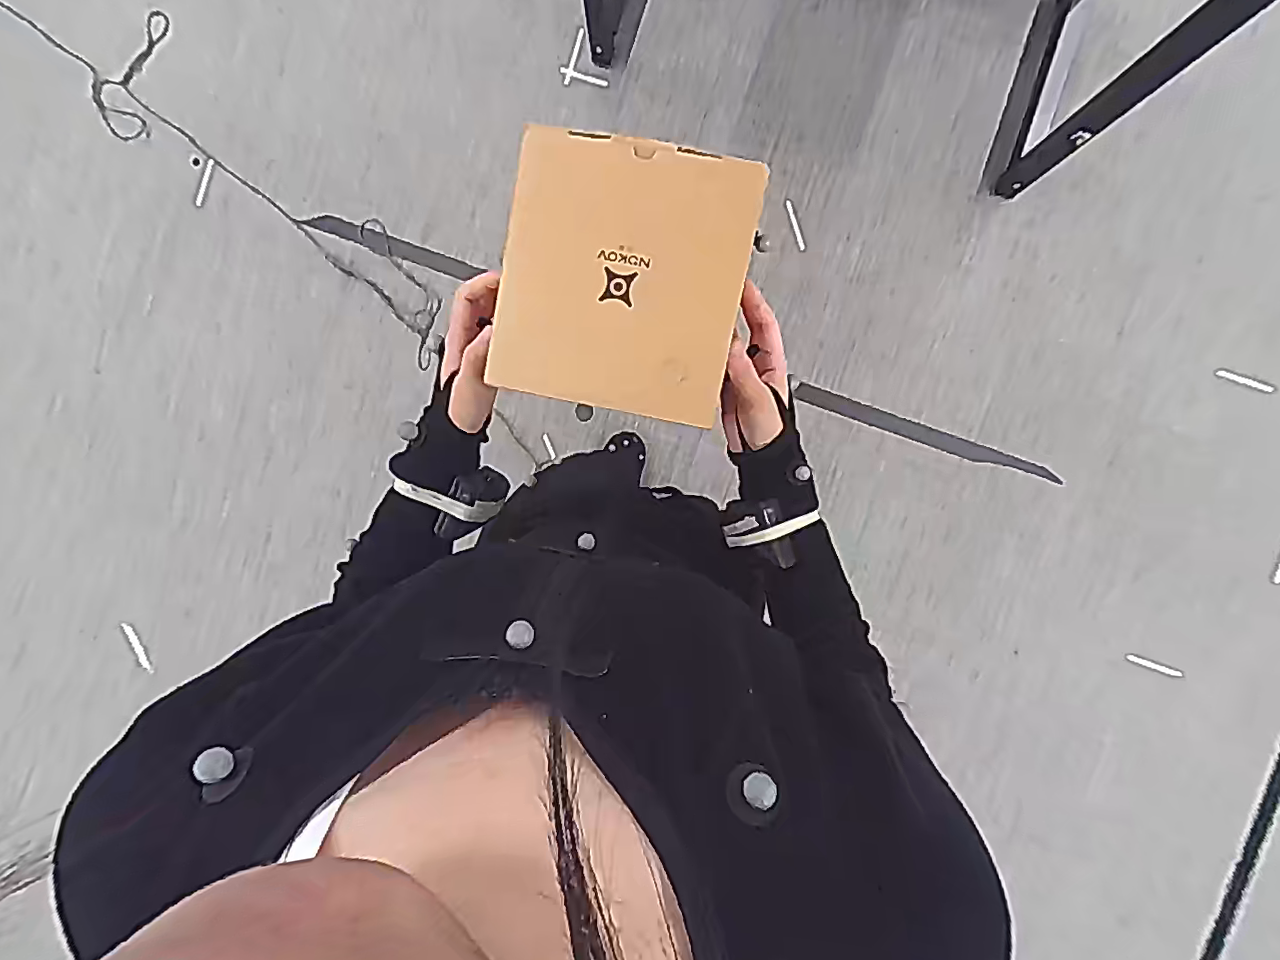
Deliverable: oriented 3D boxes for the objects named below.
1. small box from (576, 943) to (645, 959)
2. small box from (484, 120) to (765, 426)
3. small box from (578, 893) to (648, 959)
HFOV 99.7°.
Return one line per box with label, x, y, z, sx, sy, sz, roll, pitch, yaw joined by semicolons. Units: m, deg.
small box;-0.082;1.265;1.294;0.179;0.176;0.168;8;91;2
small box;-0.007;-0.146;0.440;0.168;0.176;0.179;12;97;4
small box;-0.077;1.260;1.457;0.179;0.176;0.168;6;91;0
